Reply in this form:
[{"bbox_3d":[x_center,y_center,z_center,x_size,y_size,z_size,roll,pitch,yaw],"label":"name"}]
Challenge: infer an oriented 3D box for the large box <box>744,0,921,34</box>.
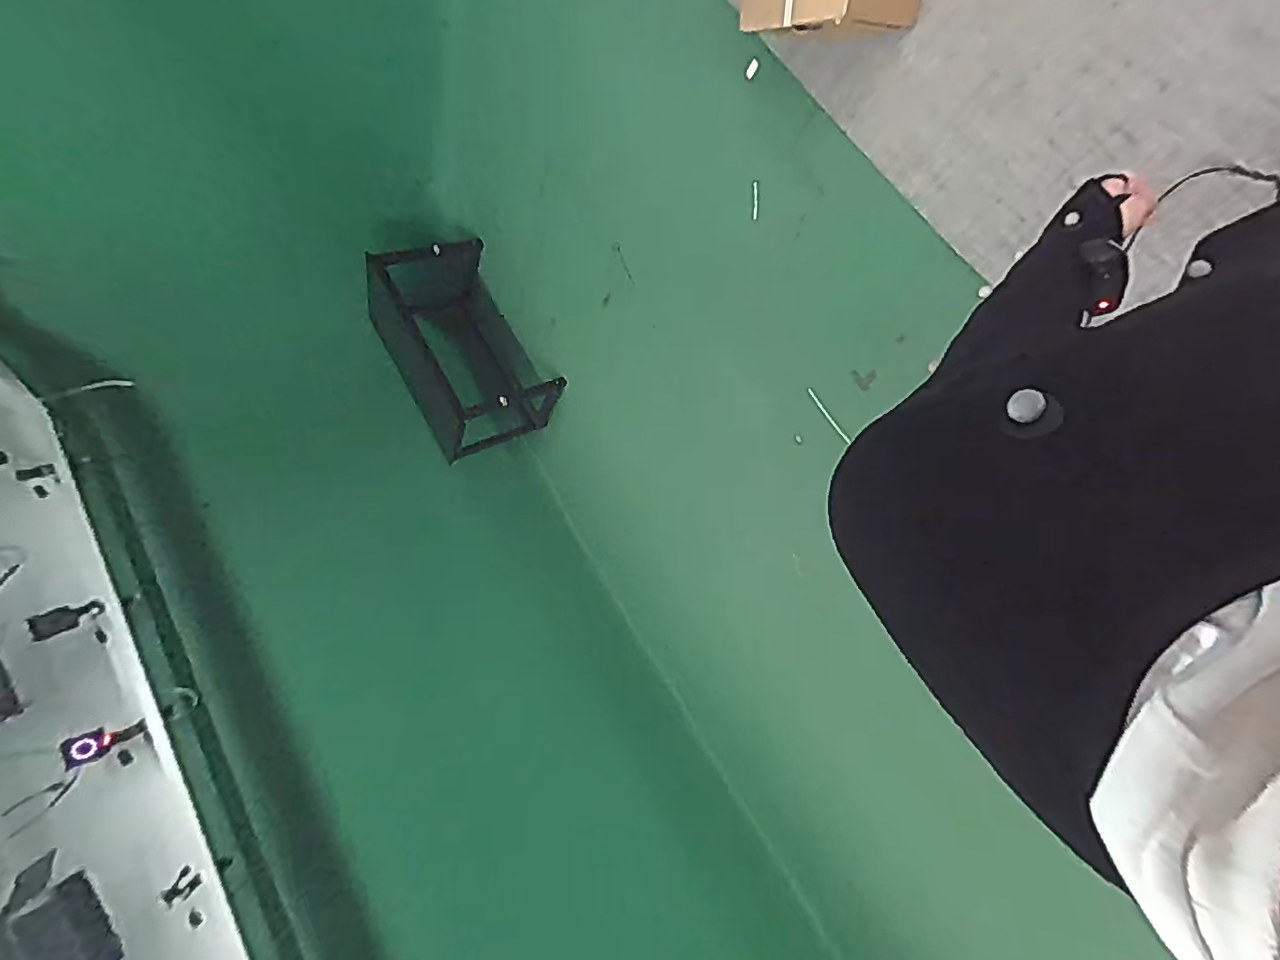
[{"bbox_3d":[0.469,-1.305,1.245,0.320,0.320,0.408,35,140,40],"label":"large box"}]
